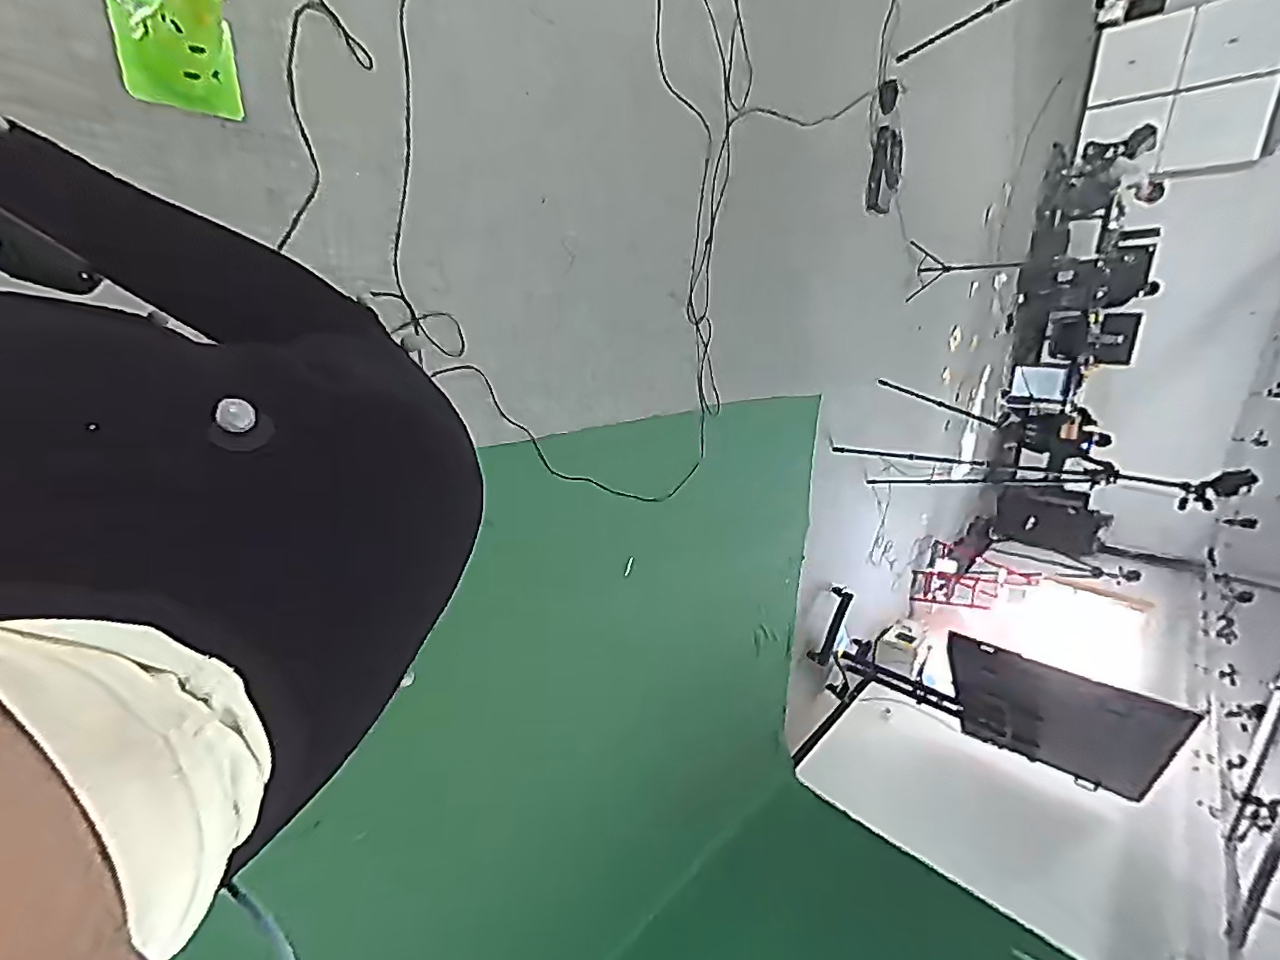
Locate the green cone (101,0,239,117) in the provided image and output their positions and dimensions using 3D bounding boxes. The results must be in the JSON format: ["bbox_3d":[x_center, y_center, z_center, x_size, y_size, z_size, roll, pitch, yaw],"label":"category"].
[{"bbox_3d":[-0.853,-0.861,1.024,0.202,0.368,0.200,-17,114,-45],"label":"green cone"}]
